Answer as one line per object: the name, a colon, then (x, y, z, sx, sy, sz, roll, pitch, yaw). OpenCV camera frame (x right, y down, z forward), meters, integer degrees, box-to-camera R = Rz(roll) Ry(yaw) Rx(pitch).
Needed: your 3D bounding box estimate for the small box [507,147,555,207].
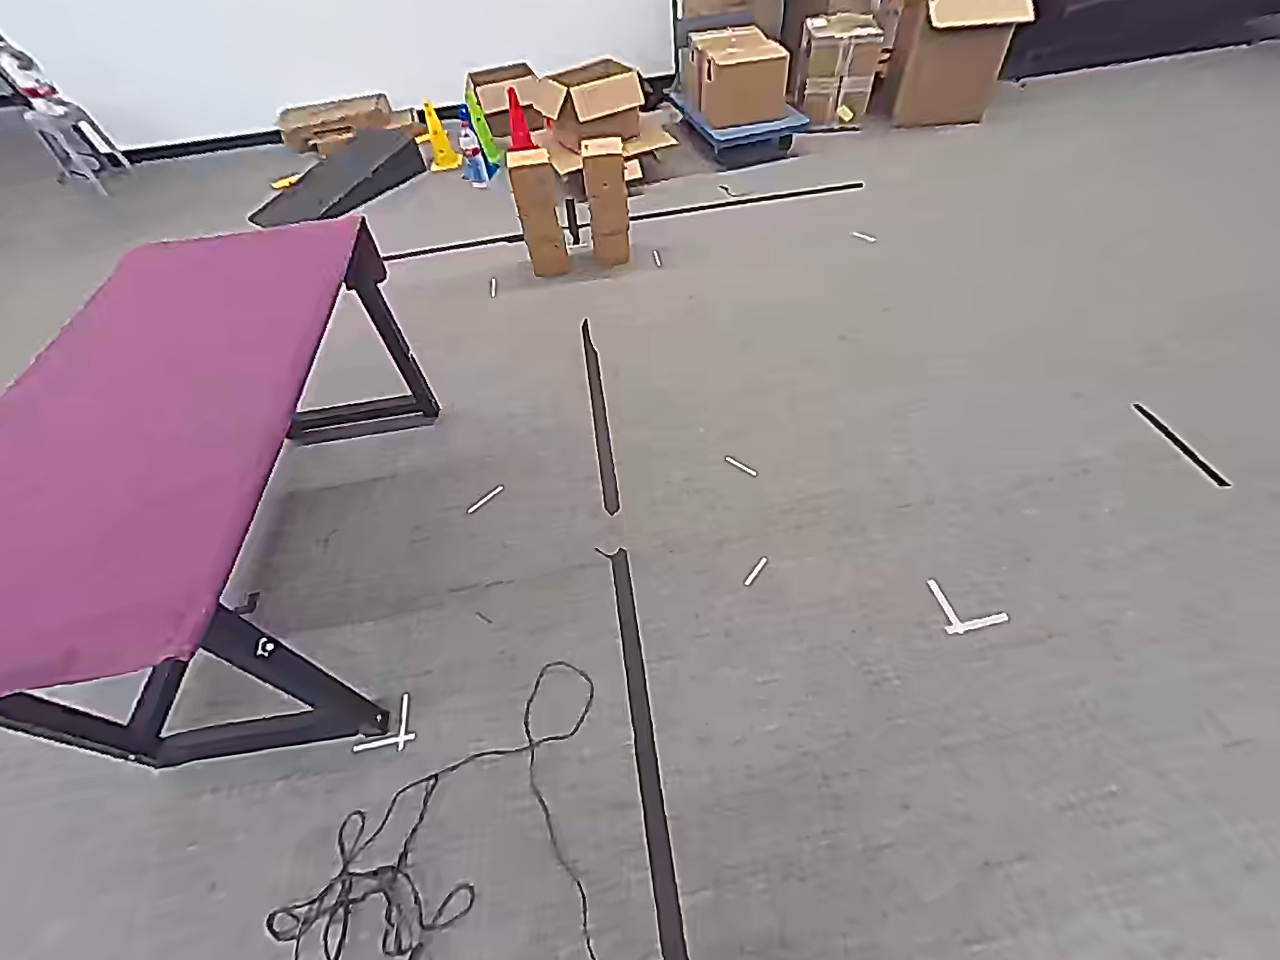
small box: (-0.466, -1.301, 2.328, 0.179, 0.176, 0.168, -10, 50, -3)

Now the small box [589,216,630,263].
small box: (-0.147, -1.170, 2.615, 0.168, 0.176, 0.179, -9, 52, -4)

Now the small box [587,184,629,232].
small box: (-0.149, -1.258, 2.475, 0.179, 0.176, 0.168, -7, 53, -2)

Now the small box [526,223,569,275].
small box: (-0.442, -1.103, 2.588, 0.179, 0.176, 0.168, -9, 52, -3)

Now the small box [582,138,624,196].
small box: (-0.158, -1.355, 2.343, 0.179, 0.176, 0.168, -5, 52, -1)
